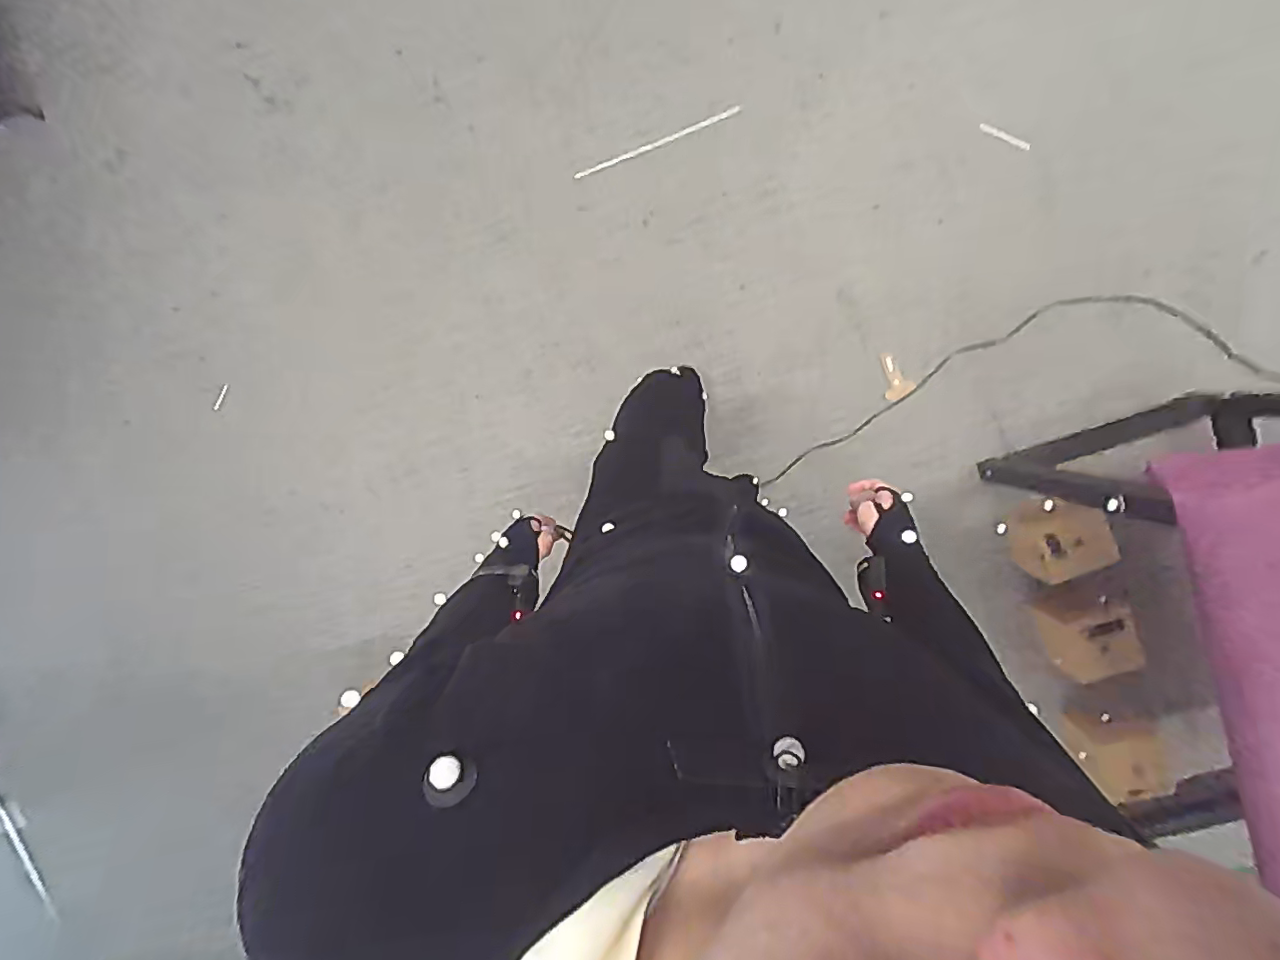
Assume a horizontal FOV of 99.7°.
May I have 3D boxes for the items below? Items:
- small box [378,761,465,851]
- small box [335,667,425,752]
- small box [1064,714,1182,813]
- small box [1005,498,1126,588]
[{"bbox_3d":[-0.704,1.054,1.758,0.179,0.176,0.168,-18,96,8],"label":"small box"},{"bbox_3d":[-0.817,0.725,1.728,0.179,0.176,0.168,-21,95,9],"label":"small box"},{"bbox_3d":[1.311,0.765,1.482,0.168,0.176,0.179,-15,95,9],"label":"small box"},{"bbox_3d":[1.107,0.161,1.427,0.179,0.176,0.168,-23,95,8],"label":"small box"}]
